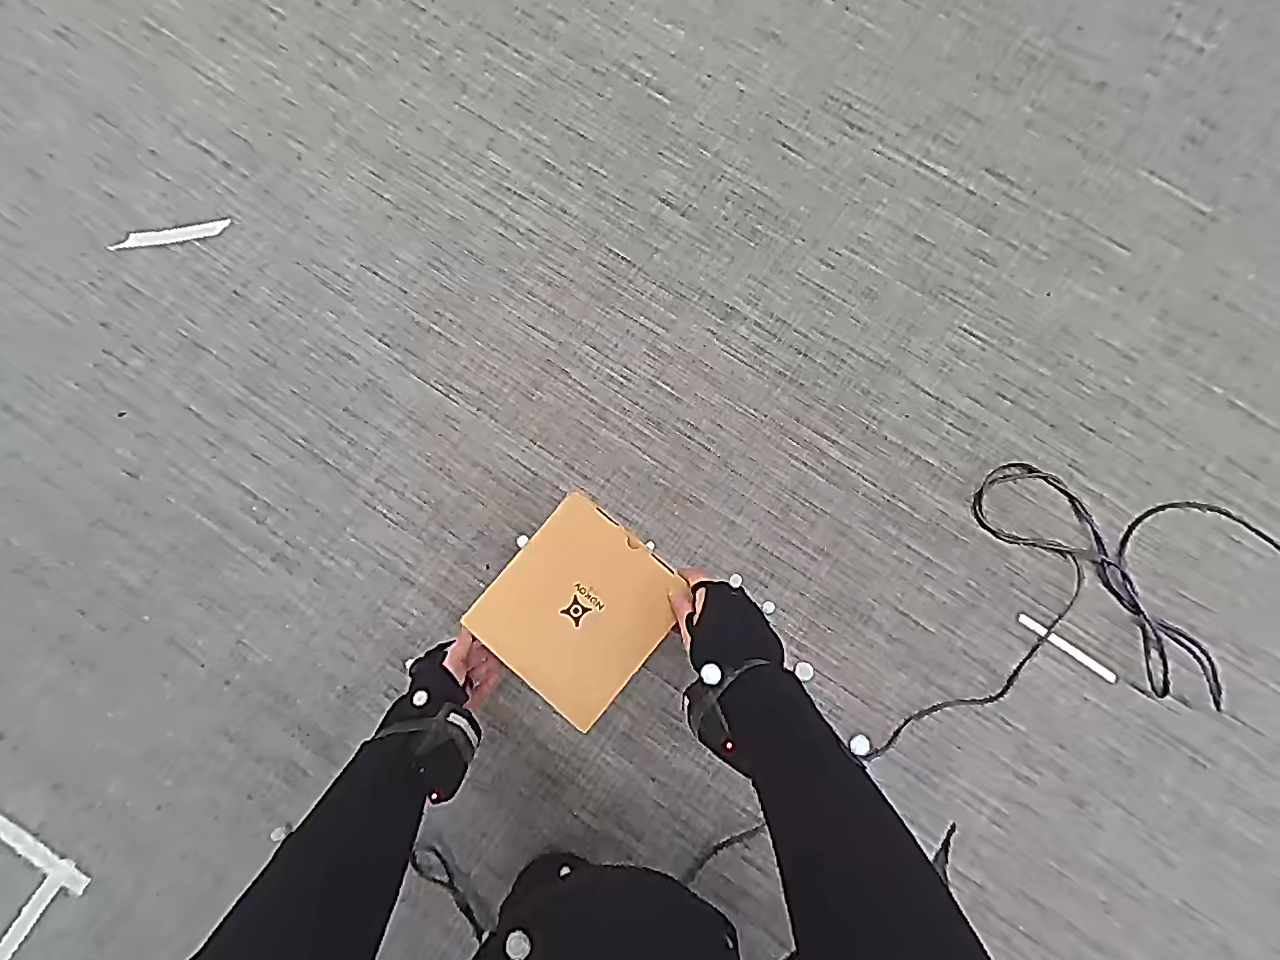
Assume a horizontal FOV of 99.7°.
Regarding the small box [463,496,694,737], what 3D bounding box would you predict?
[{"bbox_3d":[-0.058,0.144,0.609,0.168,0.176,0.179,39,82,7],"label":"small box"}]
